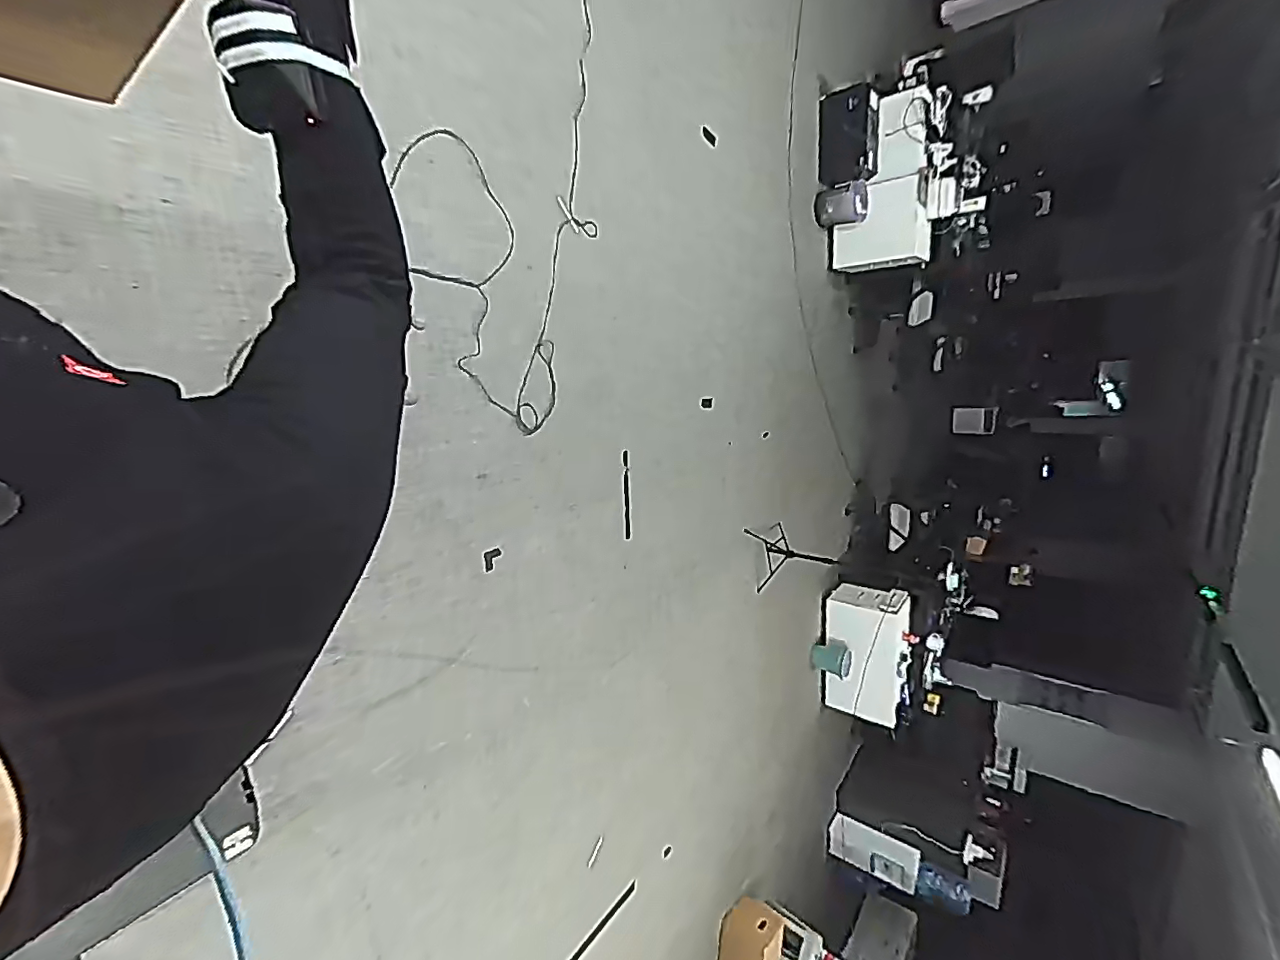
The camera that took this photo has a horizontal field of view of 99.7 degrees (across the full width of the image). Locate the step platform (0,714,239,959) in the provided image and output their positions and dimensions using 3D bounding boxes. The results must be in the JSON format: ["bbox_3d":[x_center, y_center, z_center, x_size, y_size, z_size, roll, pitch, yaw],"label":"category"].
[{"bbox_3d":[-1.143,0.738,0.967,0.684,0.204,0.286,-21,111,-47],"label":"step platform"}]

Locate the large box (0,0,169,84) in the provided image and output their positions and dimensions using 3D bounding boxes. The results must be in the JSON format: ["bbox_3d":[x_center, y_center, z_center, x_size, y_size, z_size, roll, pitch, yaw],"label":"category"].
[{"bbox_3d":[-0.500,-0.452,0.230,0.408,0.320,0.320,-18,113,-51],"label":"large box"}]
